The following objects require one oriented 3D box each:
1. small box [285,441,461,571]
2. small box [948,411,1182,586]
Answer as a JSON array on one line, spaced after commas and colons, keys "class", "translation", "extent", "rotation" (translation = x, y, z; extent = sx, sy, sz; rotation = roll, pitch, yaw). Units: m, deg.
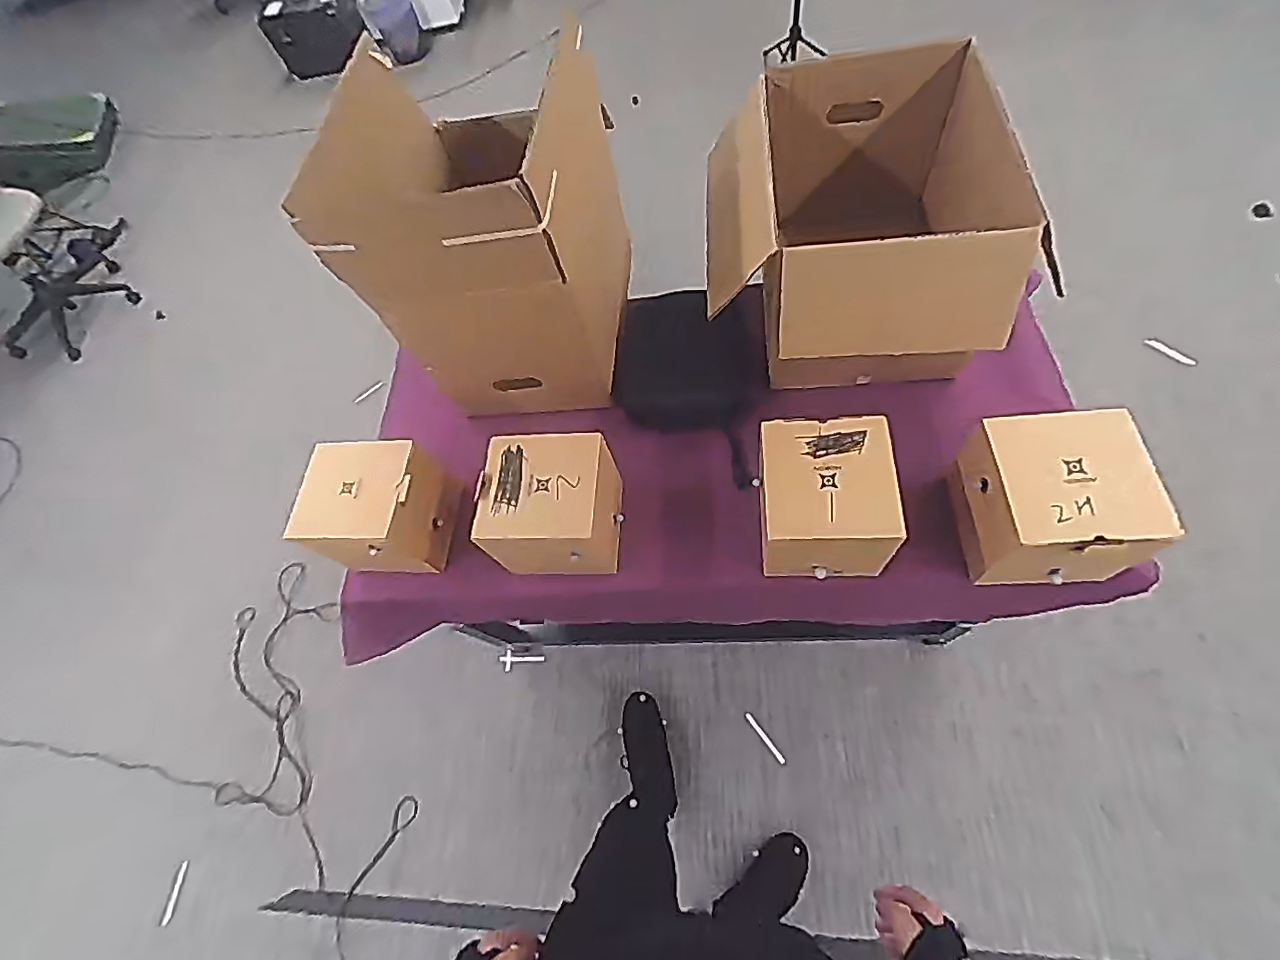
[{"class": "small box", "translation": [-0.426, 0.049, 0.894], "extent": [0.179, 0.176, 0.168], "rotation": [0, 64, 9]}, {"class": "small box", "translation": [0.530, 0.031, 0.712], "extent": [0.168, 0.176, 0.179], "rotation": [-4, 63, 11]}]
